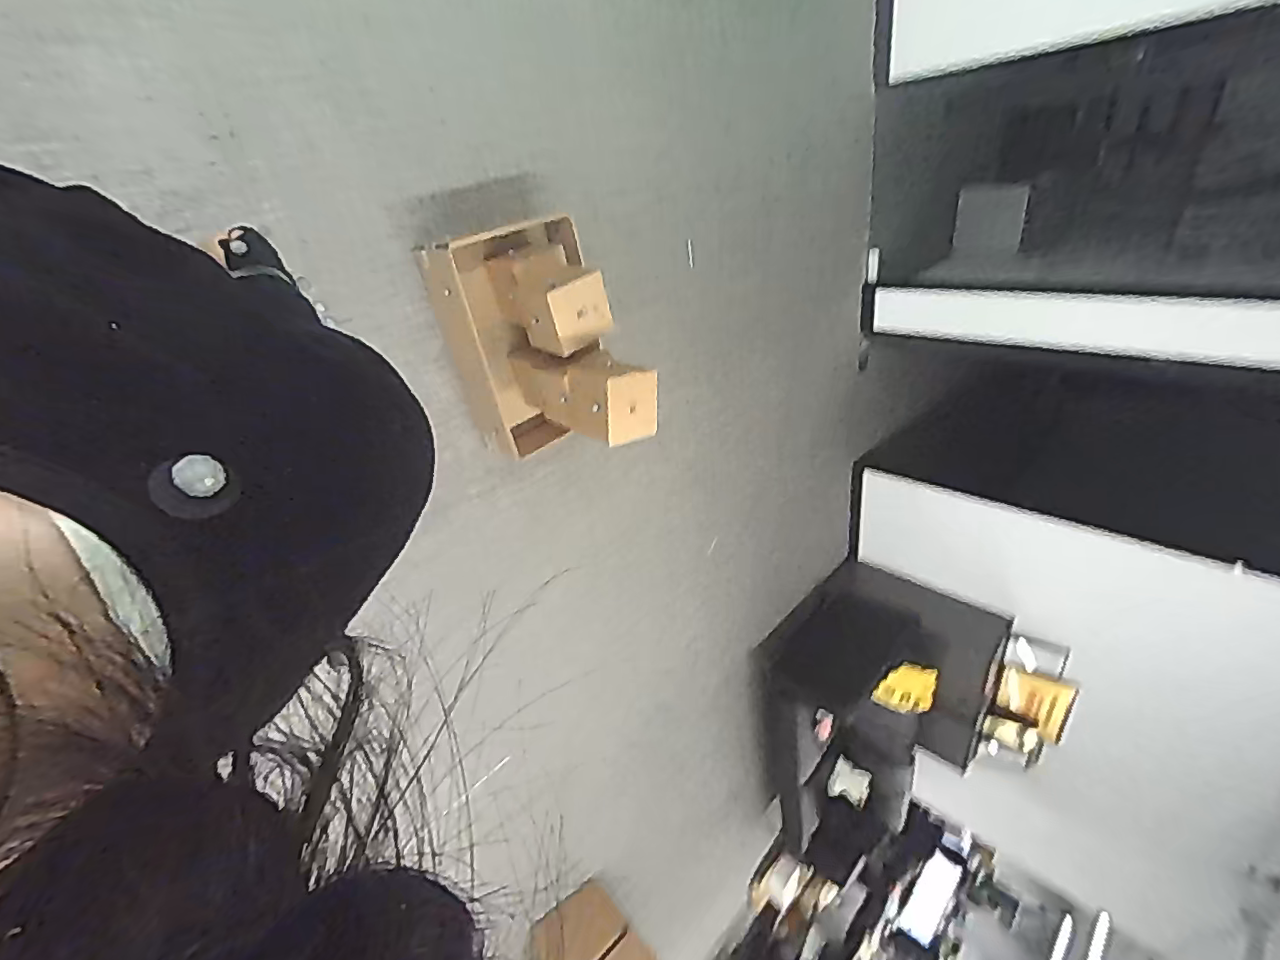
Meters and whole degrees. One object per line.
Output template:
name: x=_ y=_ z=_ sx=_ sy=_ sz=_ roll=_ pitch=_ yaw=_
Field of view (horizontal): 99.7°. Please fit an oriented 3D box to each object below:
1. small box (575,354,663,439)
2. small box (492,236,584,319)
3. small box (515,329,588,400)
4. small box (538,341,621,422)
small box: x=-0.057 y=-0.226 z=1.423 sx=0.168 sy=0.176 sz=0.179 roll=-20 pitch=119 yaw=-36
small box: x=-0.289 y=-0.574 z=1.521 sx=0.168 sy=0.176 sz=0.179 roll=-35 pitch=131 yaw=-27
small box: x=-0.253 y=-0.351 z=1.657 sx=0.168 sy=0.176 sz=0.179 roll=-40 pitch=129 yaw=-26
small box: x=-0.158 y=-0.286 z=1.537 sx=0.179 sy=0.176 sz=0.168 roll=-35 pitch=127 yaw=-29
